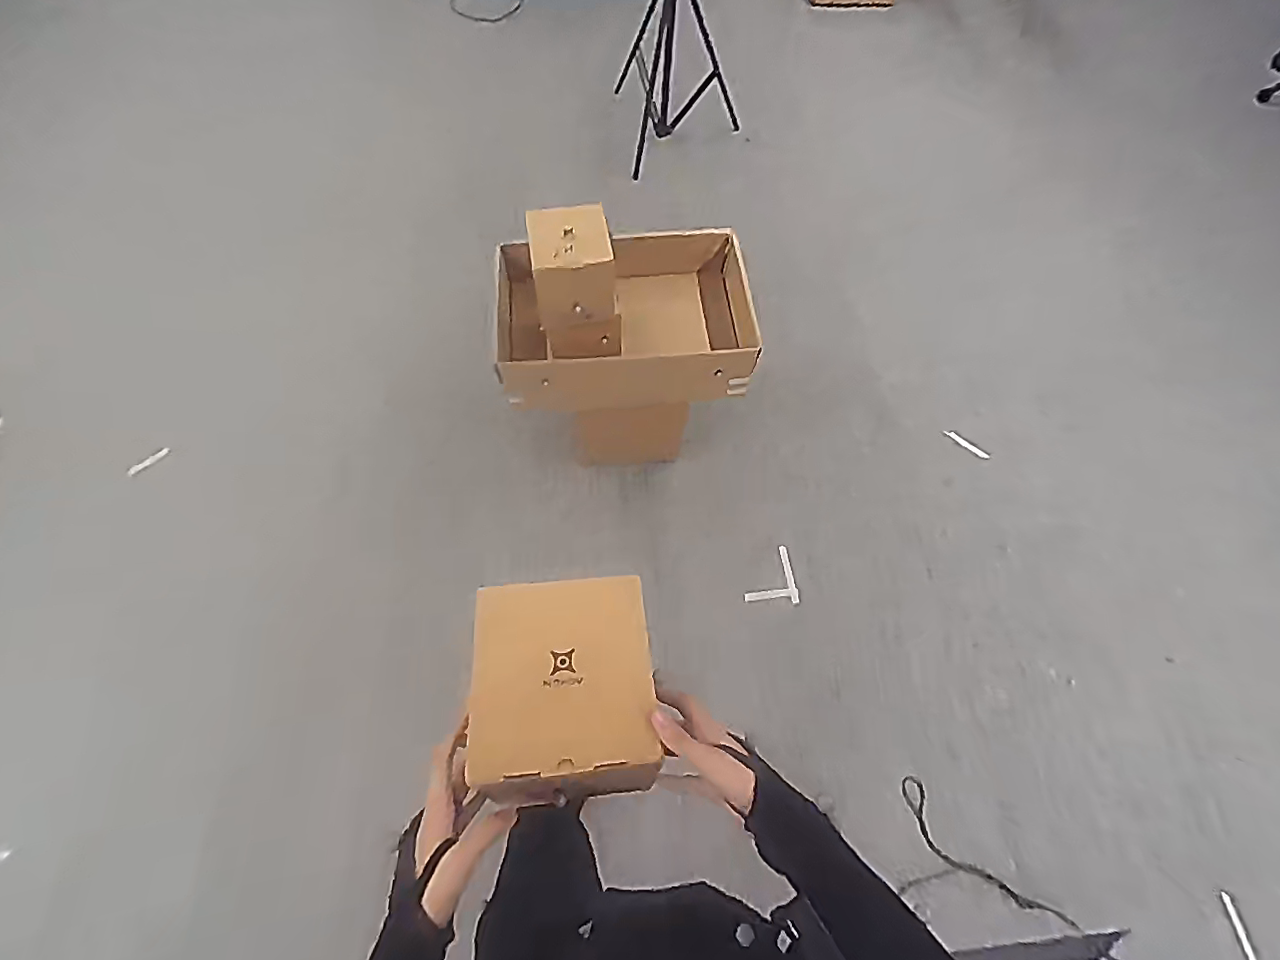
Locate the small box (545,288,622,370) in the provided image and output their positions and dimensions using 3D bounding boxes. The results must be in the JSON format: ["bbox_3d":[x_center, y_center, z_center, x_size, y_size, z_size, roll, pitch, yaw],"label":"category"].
[{"bbox_3d":[-0.146,-0.393,1.329,0.179,0.176,0.168,-11,65,-7],"label":"small box"}]

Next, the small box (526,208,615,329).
[{"bbox_3d":[-0.150,-0.457,1.178,0.168,0.176,0.179,-9,65,-6],"label":"small box"}]
